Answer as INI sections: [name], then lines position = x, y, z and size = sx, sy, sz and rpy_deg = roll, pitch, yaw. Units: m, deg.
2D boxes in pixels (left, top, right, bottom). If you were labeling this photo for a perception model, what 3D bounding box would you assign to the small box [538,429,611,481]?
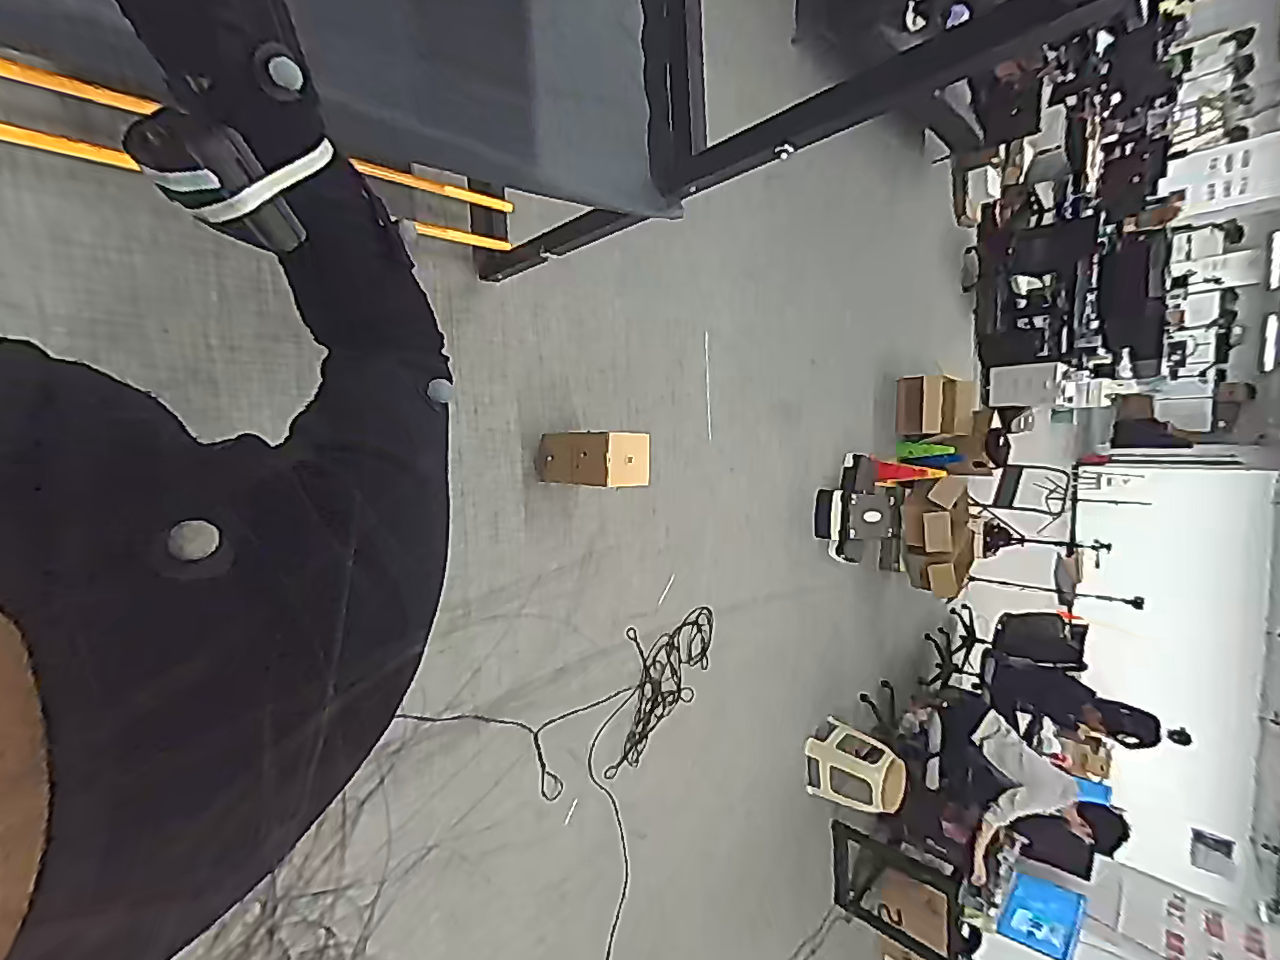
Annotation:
[small box]
position = -0.219, -0.084, 1.814
size = 0.179, 0.176, 0.168
rpy_deg = 0, 92, -44
